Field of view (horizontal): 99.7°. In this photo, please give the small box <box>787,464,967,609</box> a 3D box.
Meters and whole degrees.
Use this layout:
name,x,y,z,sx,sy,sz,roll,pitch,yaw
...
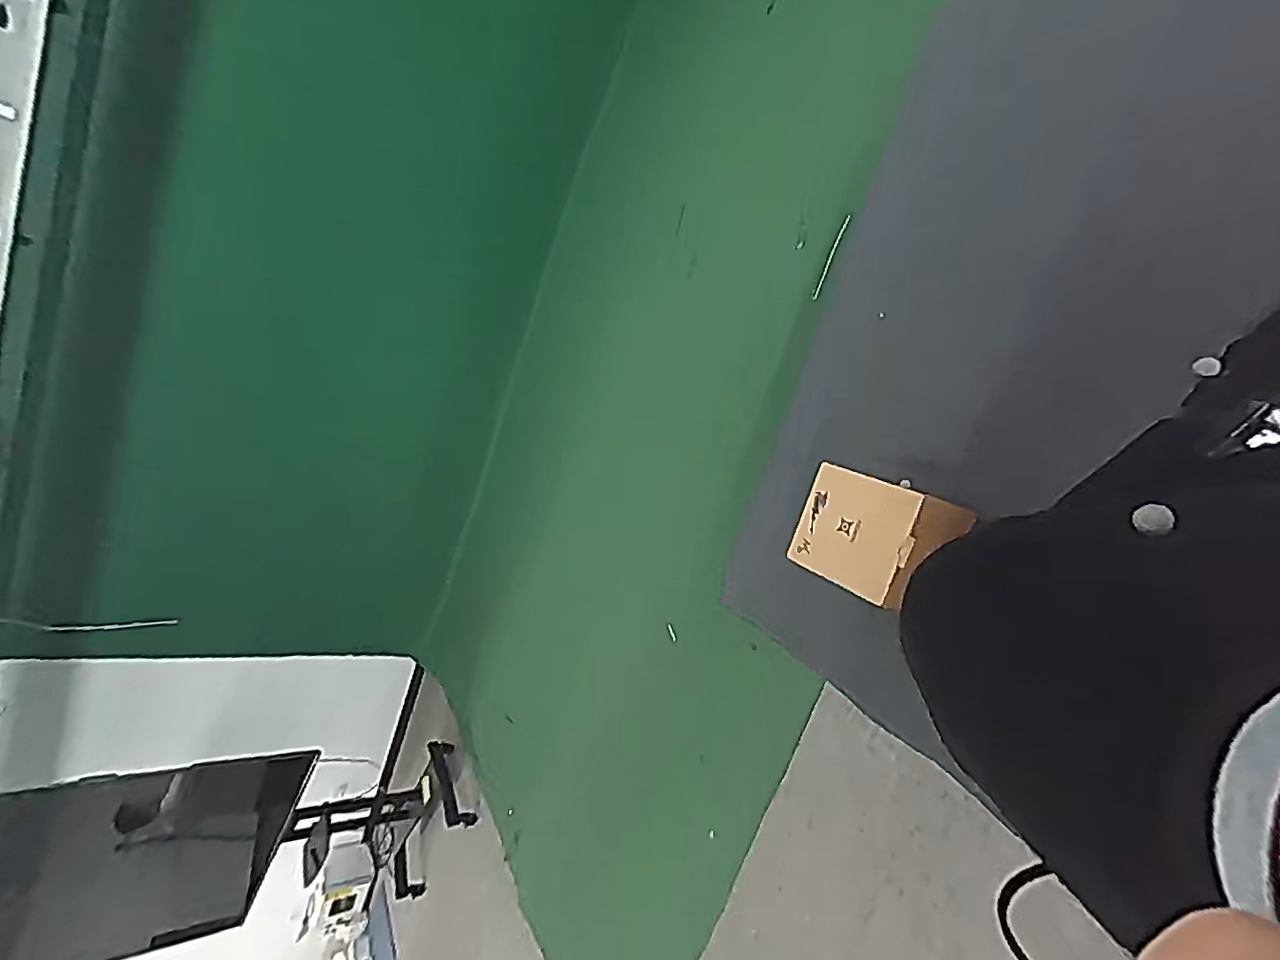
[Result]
name,x,y,z,sx,sy,sz,roll,pitch,yaw
small box,0.370,0.088,0.843,0.179,0.176,0.168,27,101,51
